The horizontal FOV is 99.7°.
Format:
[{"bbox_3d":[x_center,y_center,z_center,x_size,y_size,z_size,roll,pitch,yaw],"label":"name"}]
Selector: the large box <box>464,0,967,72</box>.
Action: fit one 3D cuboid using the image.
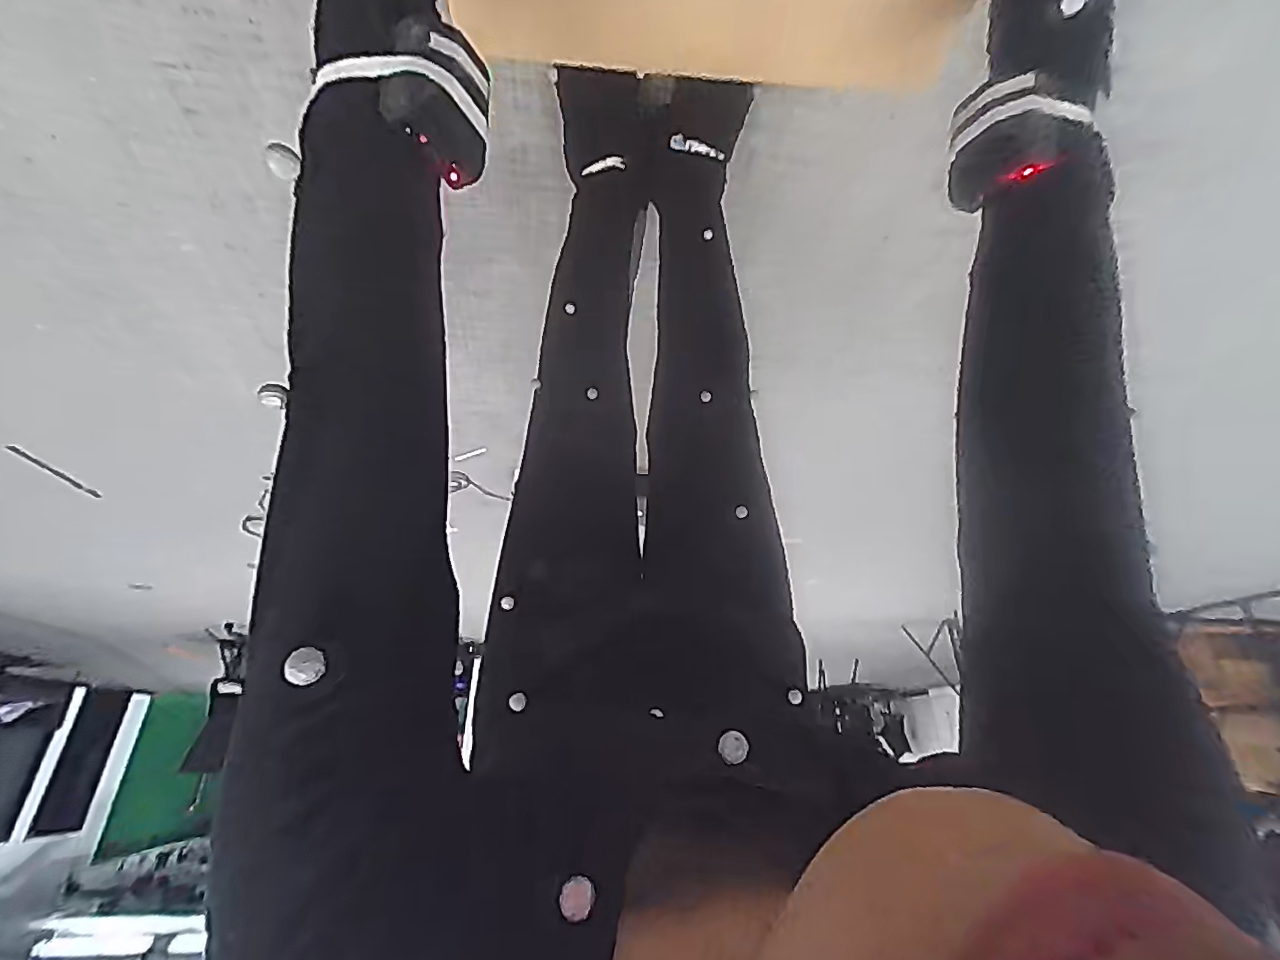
[{"bbox_3d":[0.063,-0.557,0.385,0.408,0.320,0.320,1,156,-4],"label":"large box"}]
